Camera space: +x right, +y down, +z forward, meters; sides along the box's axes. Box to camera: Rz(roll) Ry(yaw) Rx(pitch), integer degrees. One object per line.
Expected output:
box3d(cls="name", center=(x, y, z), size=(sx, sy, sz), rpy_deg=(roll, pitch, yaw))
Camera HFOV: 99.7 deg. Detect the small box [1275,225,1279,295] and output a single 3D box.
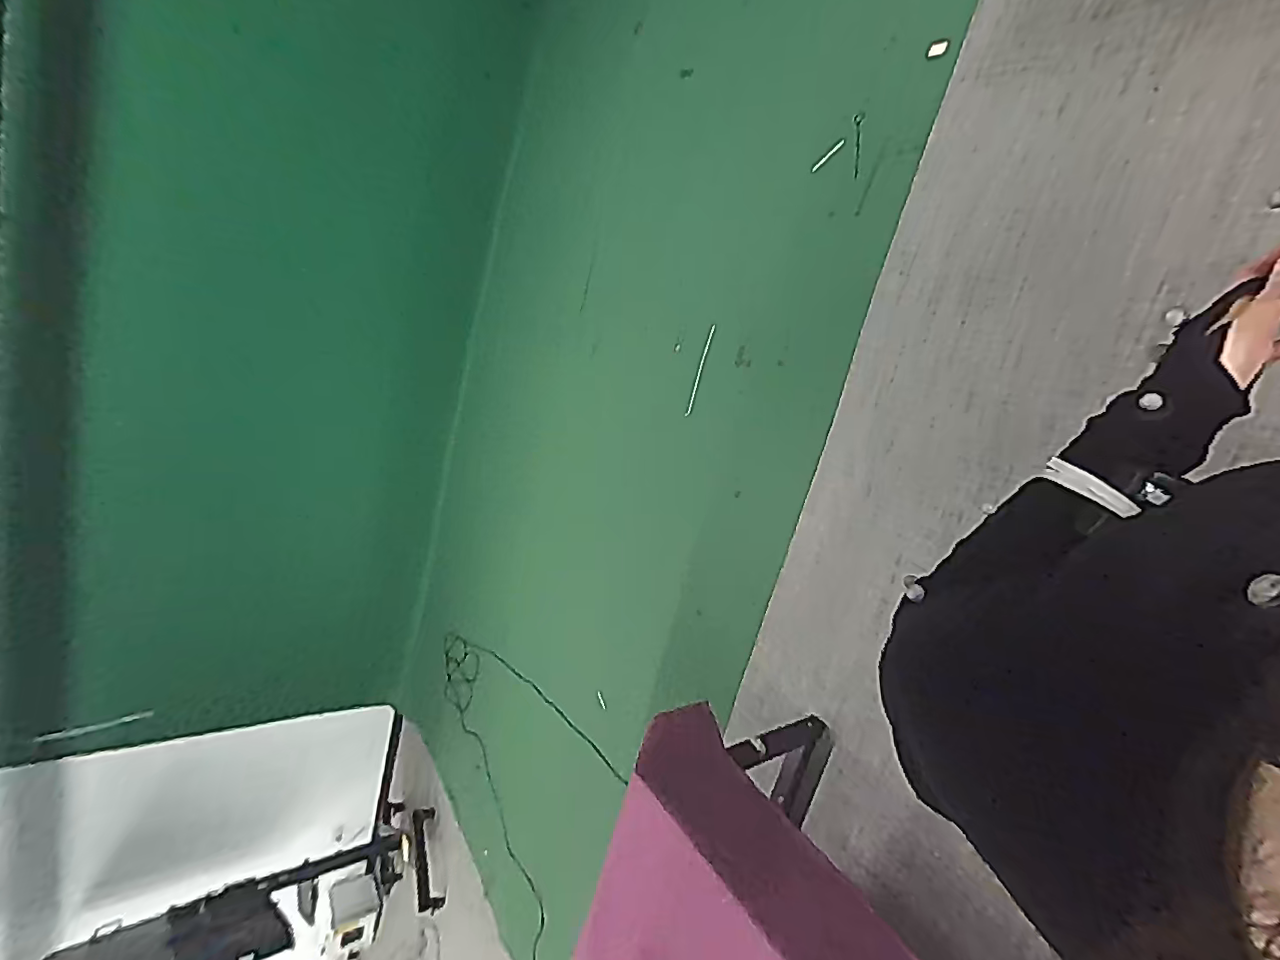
box3d(cls="small box", center=(0.490, -0.201, 0.293), size=(0.179, 0.176, 0.168), rpy_deg=(7, 96, 51))
